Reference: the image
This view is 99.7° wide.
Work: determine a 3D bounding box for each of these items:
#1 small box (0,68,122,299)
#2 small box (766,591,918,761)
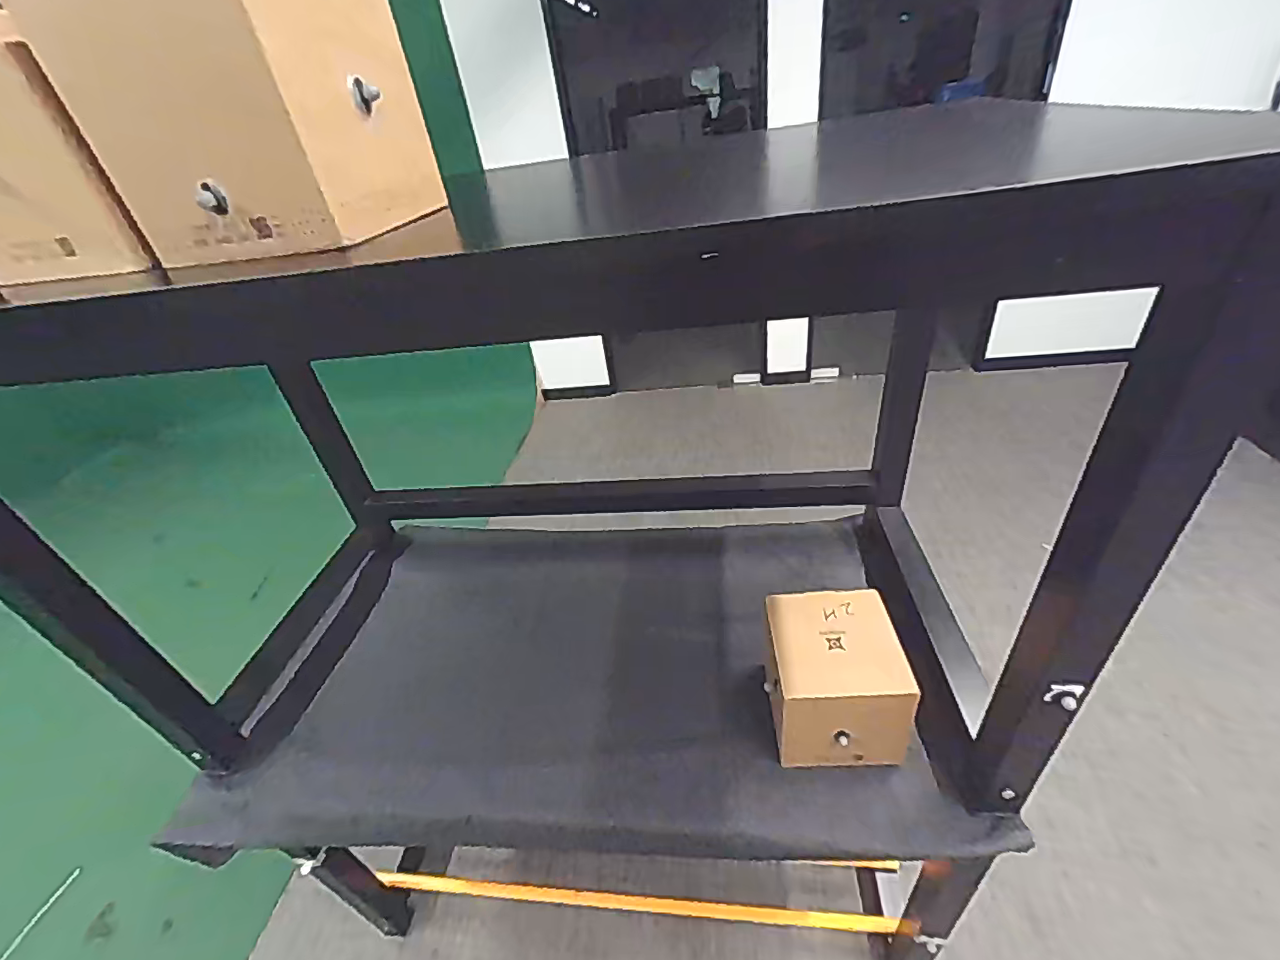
[{"bbox_3d":[-0.651,-0.267,0.500,0.168,0.176,0.179,-3,36,8],"label":"small box"},{"bbox_3d":[0.277,0.285,0.782,0.168,0.176,0.179,-4,34,6],"label":"small box"}]
